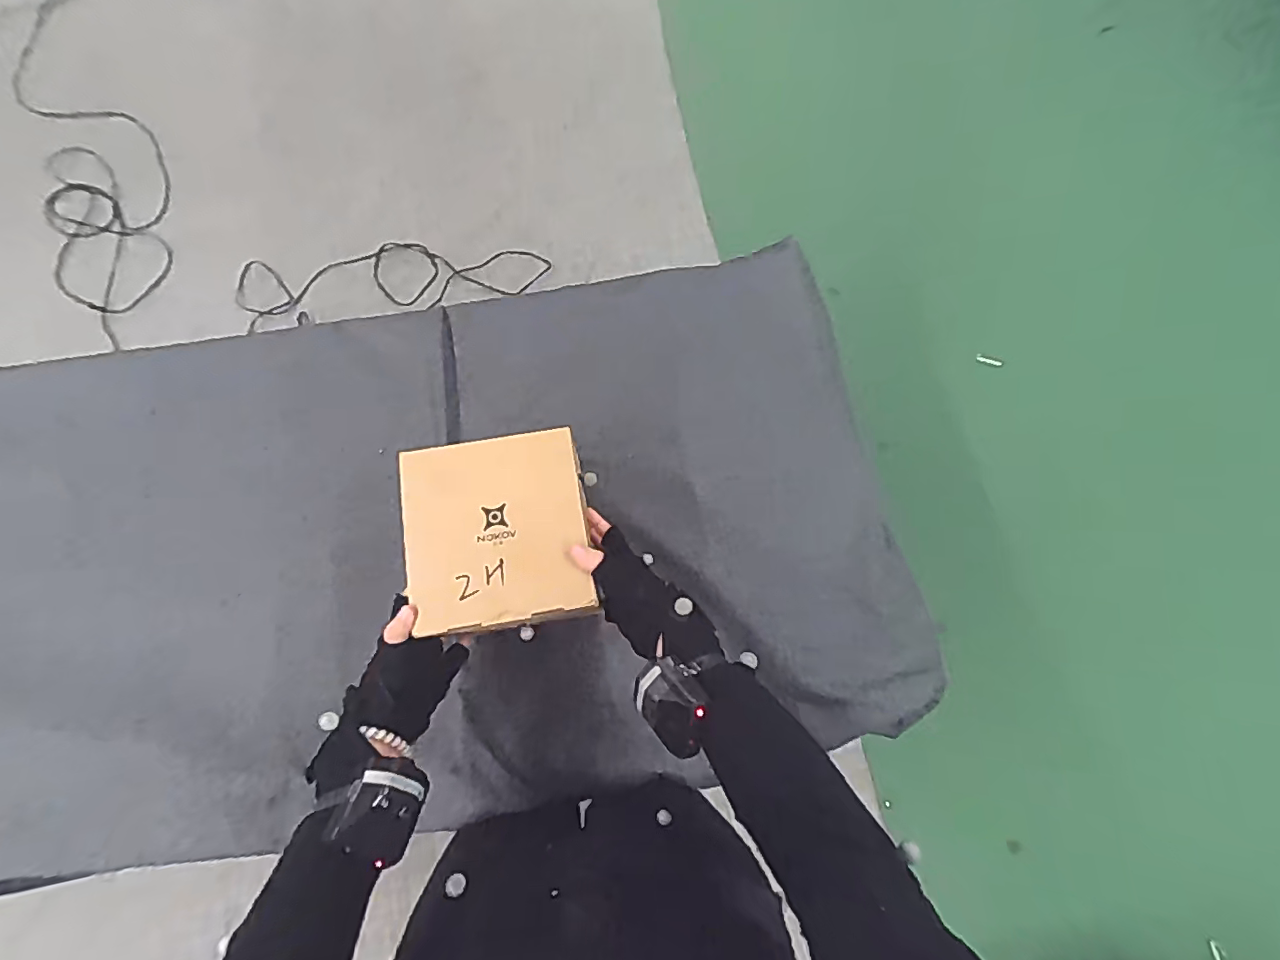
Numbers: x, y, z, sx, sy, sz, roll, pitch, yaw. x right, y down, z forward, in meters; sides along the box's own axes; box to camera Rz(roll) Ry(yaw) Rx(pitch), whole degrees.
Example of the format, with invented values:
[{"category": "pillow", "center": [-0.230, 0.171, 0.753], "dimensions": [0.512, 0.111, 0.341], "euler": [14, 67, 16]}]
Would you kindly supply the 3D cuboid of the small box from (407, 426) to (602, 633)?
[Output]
[{"category": "small box", "center": [-0.134, 0.062, 0.576], "dimensions": [0.168, 0.176, 0.179], "euler": [-9, 75, -5]}]
